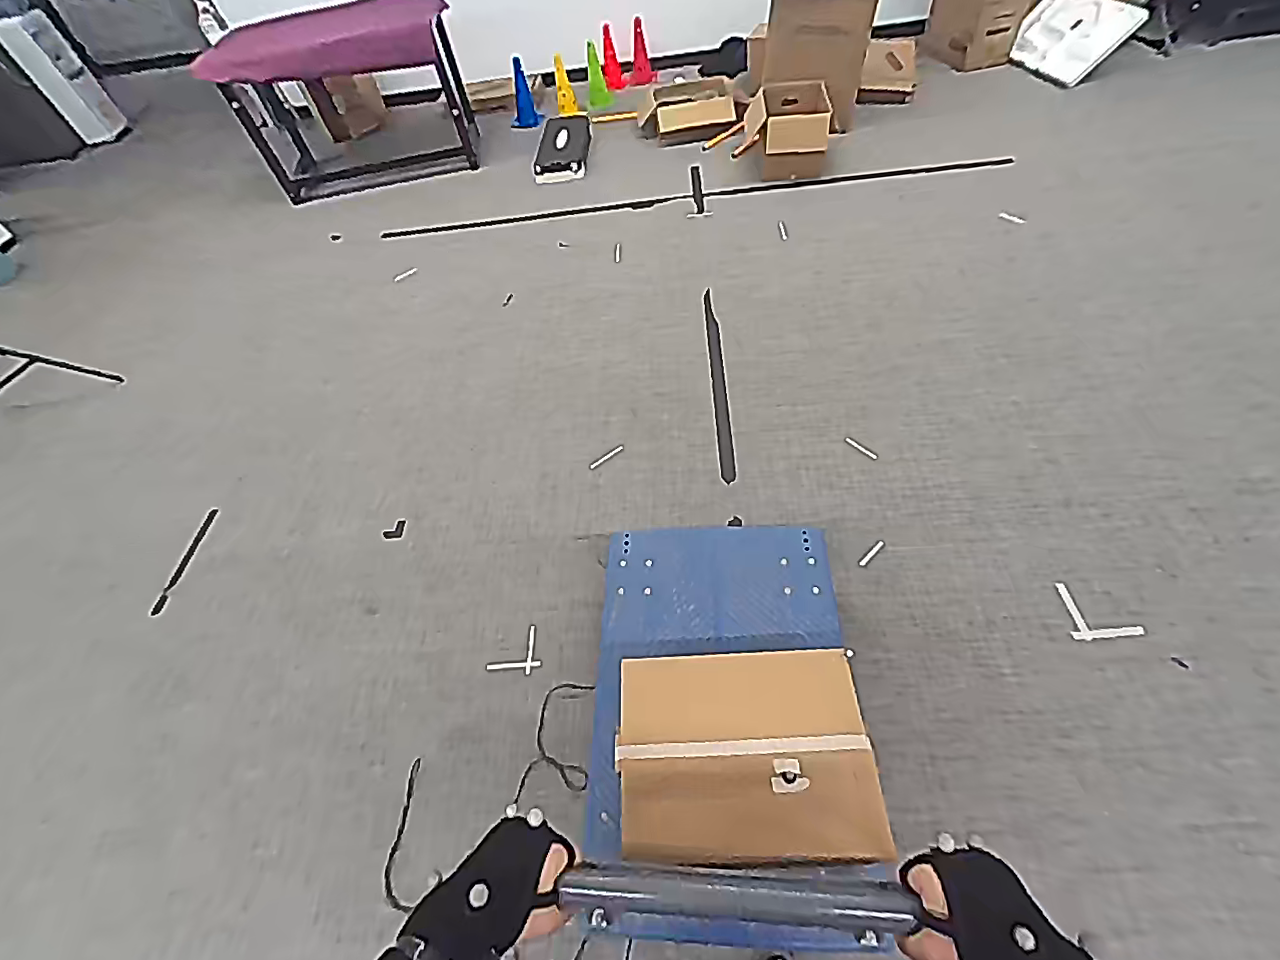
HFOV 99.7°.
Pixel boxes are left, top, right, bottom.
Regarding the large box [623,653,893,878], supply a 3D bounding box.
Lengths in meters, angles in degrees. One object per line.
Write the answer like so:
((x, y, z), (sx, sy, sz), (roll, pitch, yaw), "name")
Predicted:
((0.182, 0.539, 1.008), (0.408, 0.320, 0.320), (-4, 53, 3), "large box")
